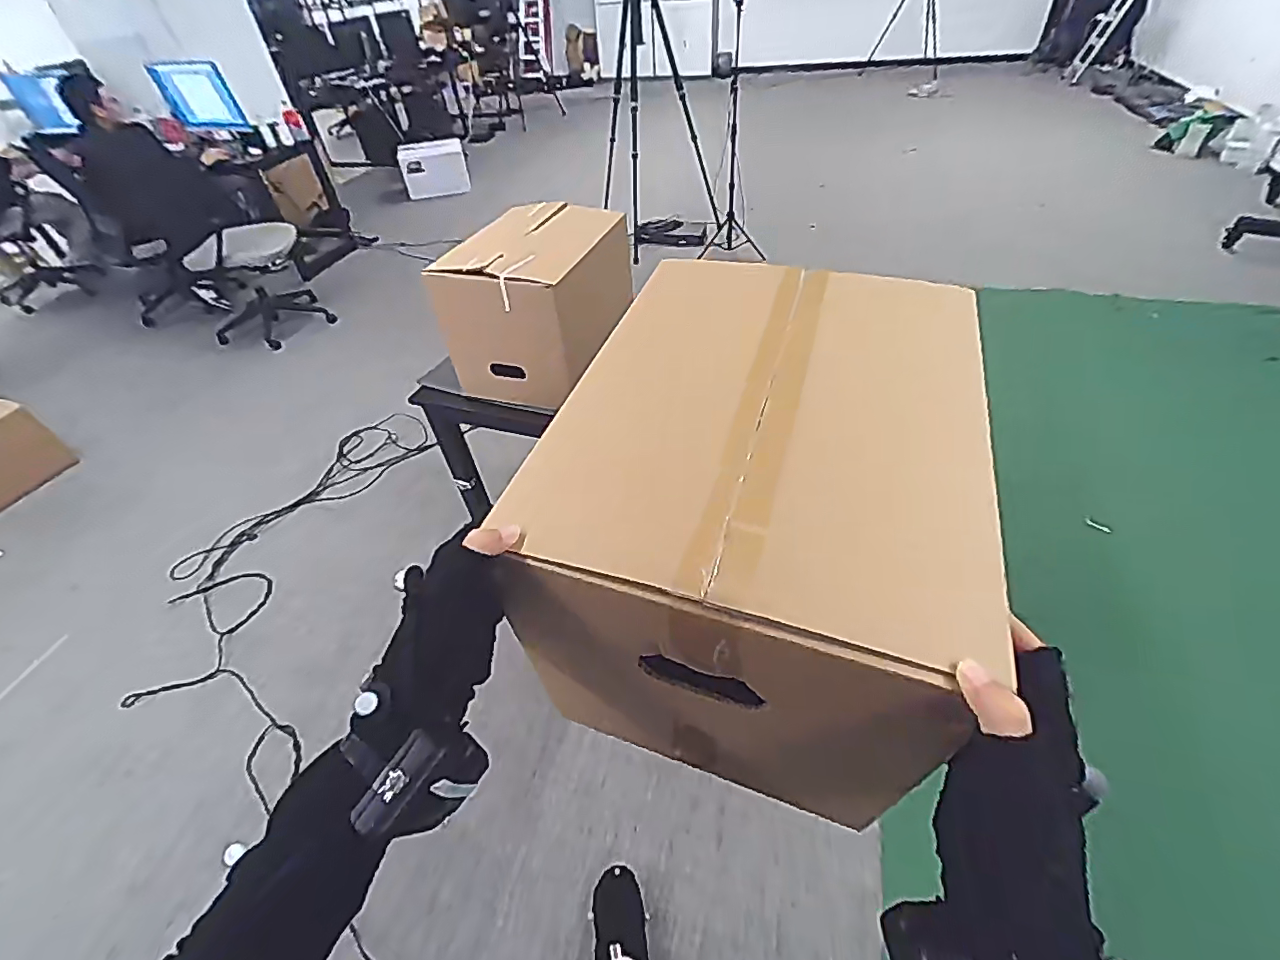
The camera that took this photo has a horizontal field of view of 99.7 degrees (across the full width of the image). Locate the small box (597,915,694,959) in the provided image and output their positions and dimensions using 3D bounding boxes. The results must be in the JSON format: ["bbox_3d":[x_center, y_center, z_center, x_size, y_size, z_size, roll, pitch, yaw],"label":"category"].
[{"bbox_3d":[-0.001,0.971,1.035,0.168,0.176,0.179,12,58,0],"label":"small box"}]
